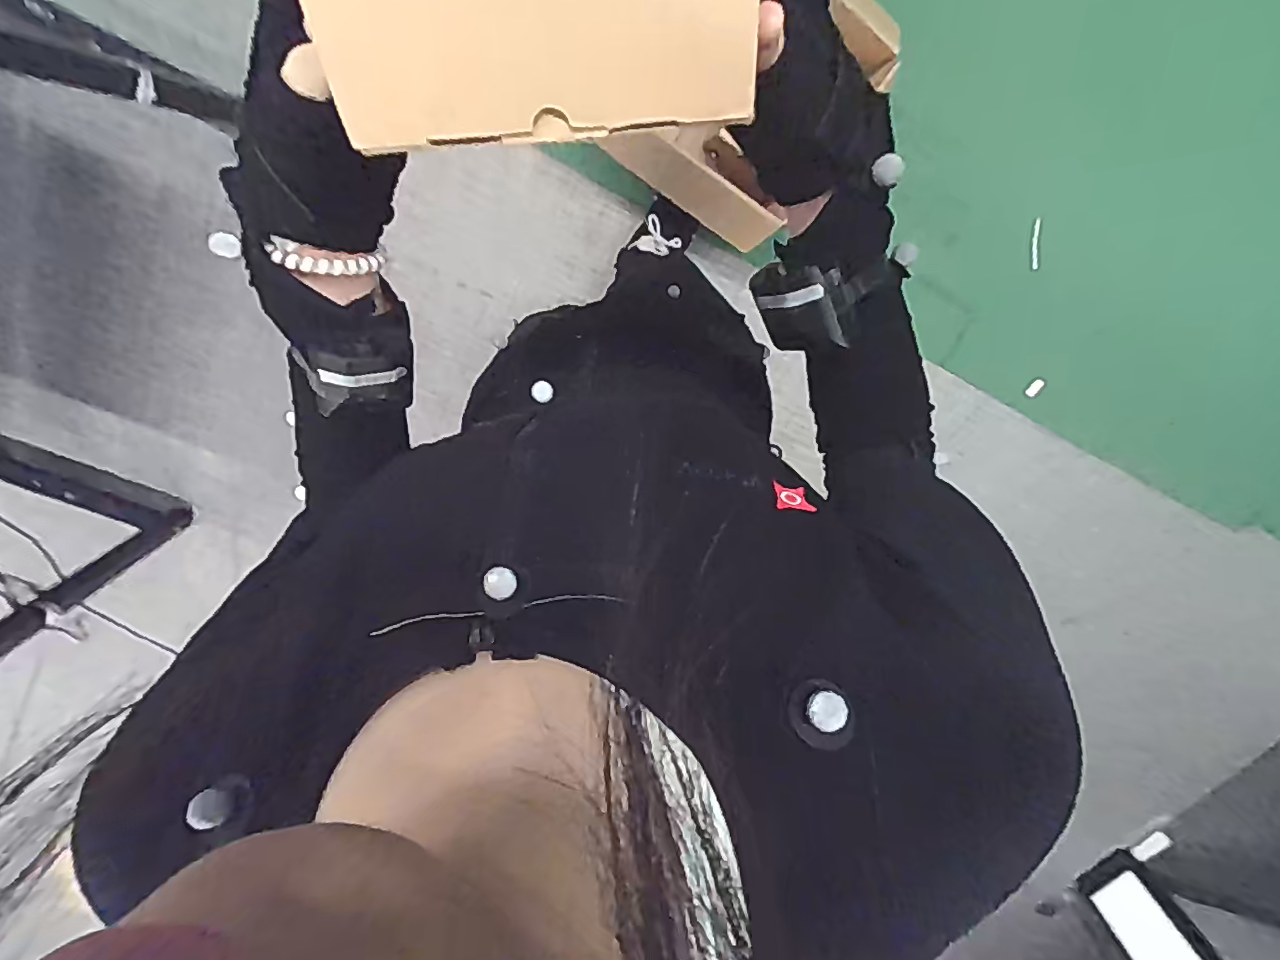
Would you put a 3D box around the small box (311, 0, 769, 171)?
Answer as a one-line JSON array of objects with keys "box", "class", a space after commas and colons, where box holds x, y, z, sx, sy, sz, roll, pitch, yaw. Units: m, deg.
[{"box": [-0.042, -0.253, 0.230, 0.168, 0.176, 0.179, -5, 132, 0], "class": "small box"}]
